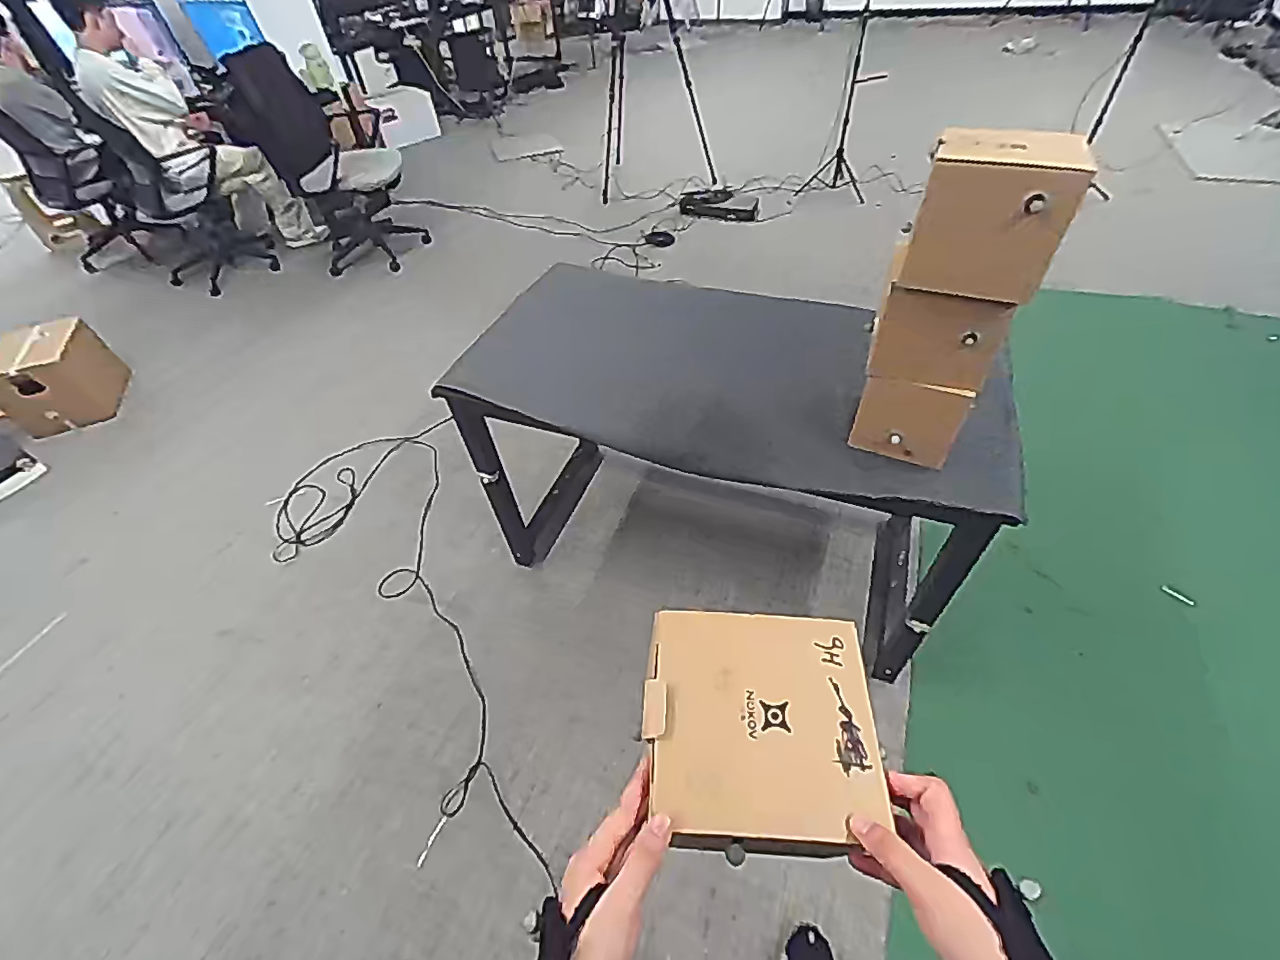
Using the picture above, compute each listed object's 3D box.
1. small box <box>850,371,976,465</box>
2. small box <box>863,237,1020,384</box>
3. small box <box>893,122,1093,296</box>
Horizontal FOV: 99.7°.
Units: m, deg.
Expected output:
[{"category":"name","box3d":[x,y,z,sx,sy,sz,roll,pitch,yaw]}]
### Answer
[{"category":"small box","box3d":[0.499,-0.159,0.992,0.168,0.176,0.179,18,50,22]},{"category":"small box","box3d":[0.479,-0.275,0.881,0.179,0.176,0.168,11,46,18]},{"category":"small box","box3d":[0.473,-0.373,0.746,0.179,0.176,0.168,16,48,20]}]
